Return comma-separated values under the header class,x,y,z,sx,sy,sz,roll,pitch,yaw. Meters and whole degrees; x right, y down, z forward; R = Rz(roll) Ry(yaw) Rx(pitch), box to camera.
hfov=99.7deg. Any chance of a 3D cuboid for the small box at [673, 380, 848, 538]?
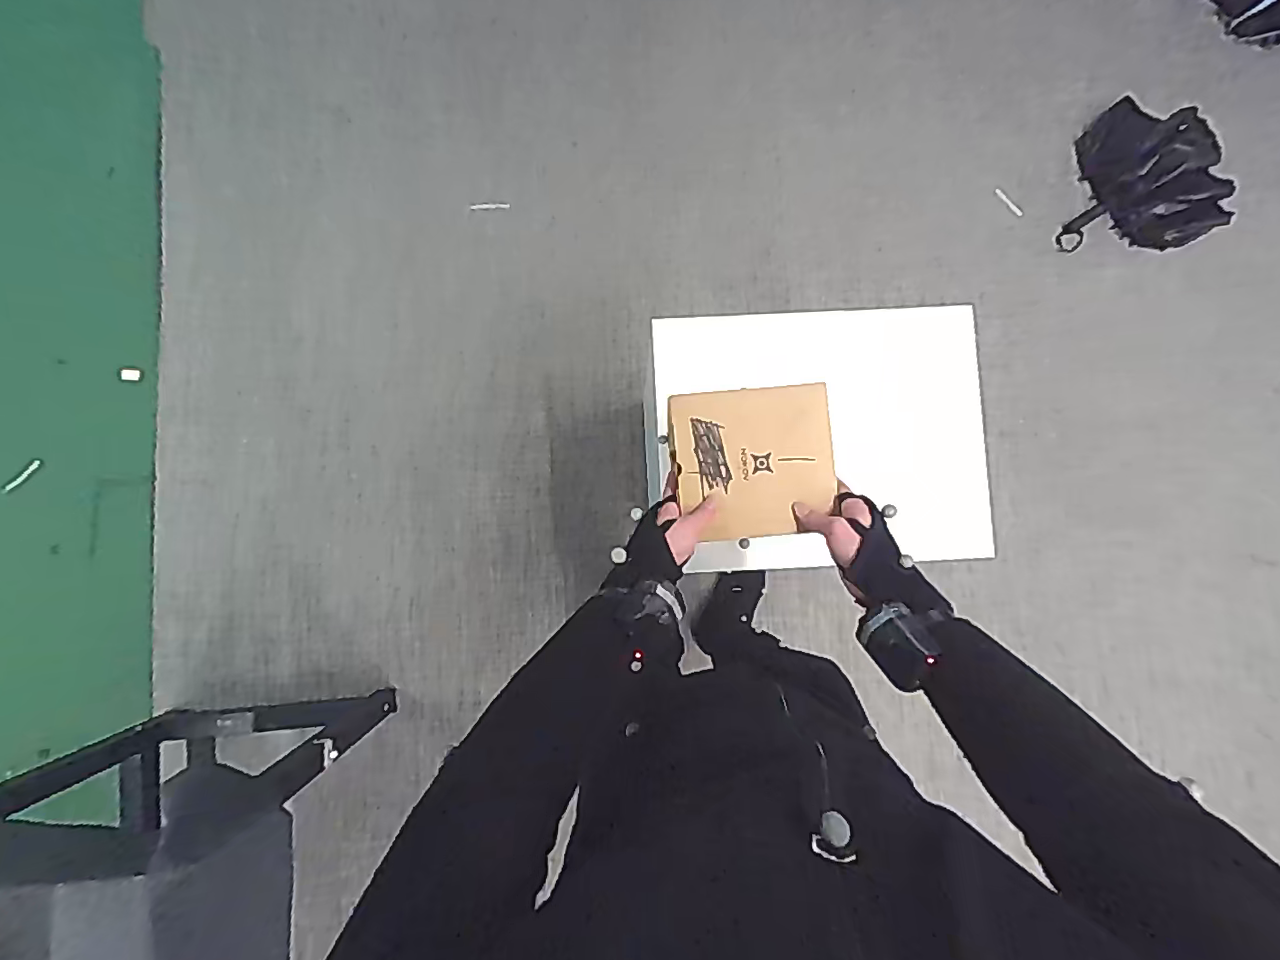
class,x,y,z,sx,sy,sz,roll,pitch,yaw
small box,0.132,-0.018,0.659,0.179,0.176,0.168,-4,88,0
